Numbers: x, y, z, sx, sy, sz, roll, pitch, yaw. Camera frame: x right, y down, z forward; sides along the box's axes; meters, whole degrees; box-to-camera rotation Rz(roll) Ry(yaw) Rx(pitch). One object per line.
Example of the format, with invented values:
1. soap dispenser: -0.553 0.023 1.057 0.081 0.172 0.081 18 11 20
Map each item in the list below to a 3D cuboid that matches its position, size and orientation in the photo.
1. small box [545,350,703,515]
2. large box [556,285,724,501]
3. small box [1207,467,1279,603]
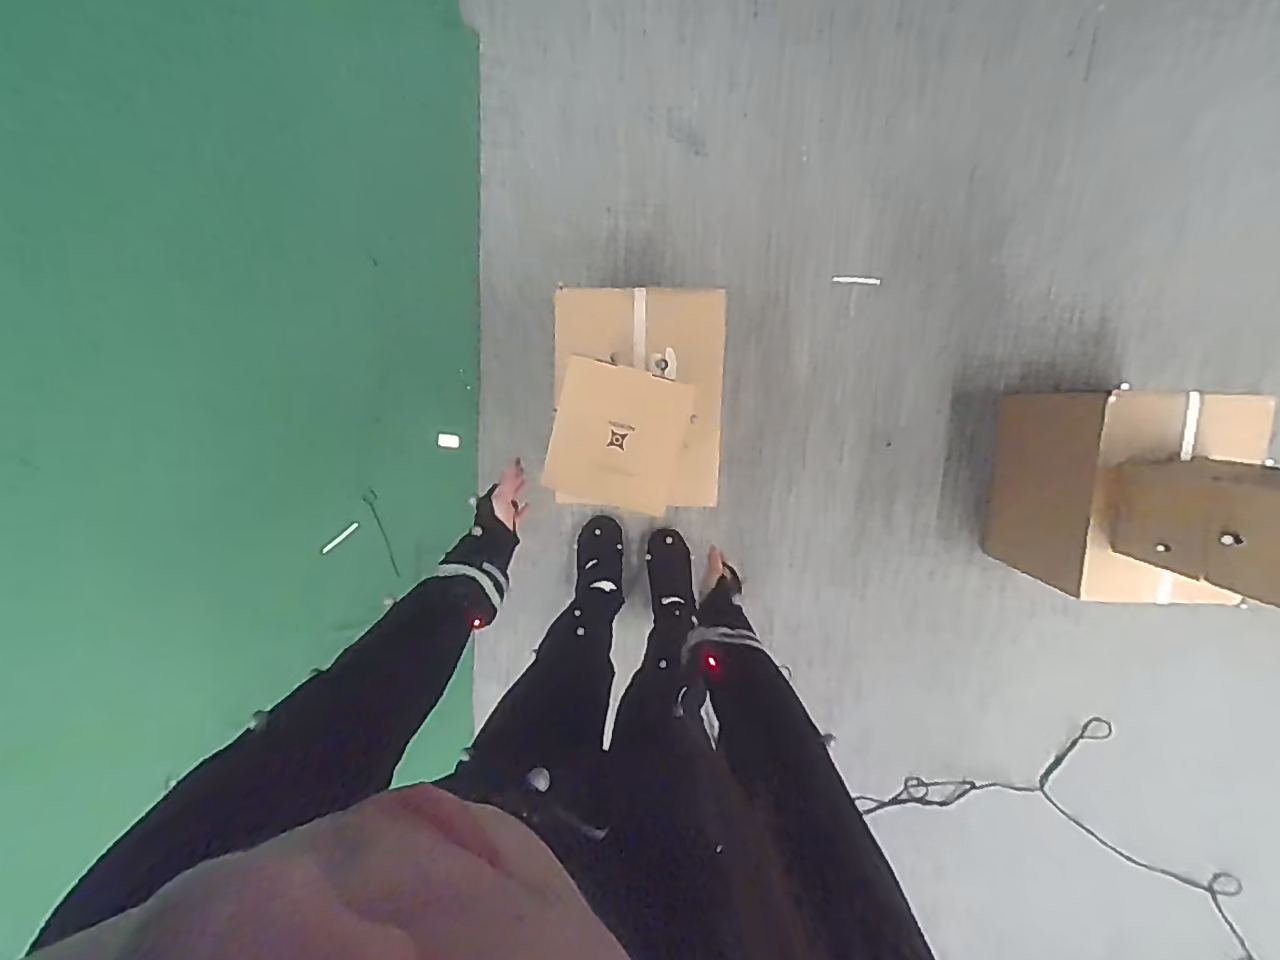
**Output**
1. small box: -0.020 -0.072 0.762 0.168 0.176 0.179 16 100 0
2. large box: 0.003 -0.176 1.156 0.320 0.320 0.408 1 98 1
3. small box: 0.975 0.081 0.770 0.168 0.176 0.179 -7 100 3
